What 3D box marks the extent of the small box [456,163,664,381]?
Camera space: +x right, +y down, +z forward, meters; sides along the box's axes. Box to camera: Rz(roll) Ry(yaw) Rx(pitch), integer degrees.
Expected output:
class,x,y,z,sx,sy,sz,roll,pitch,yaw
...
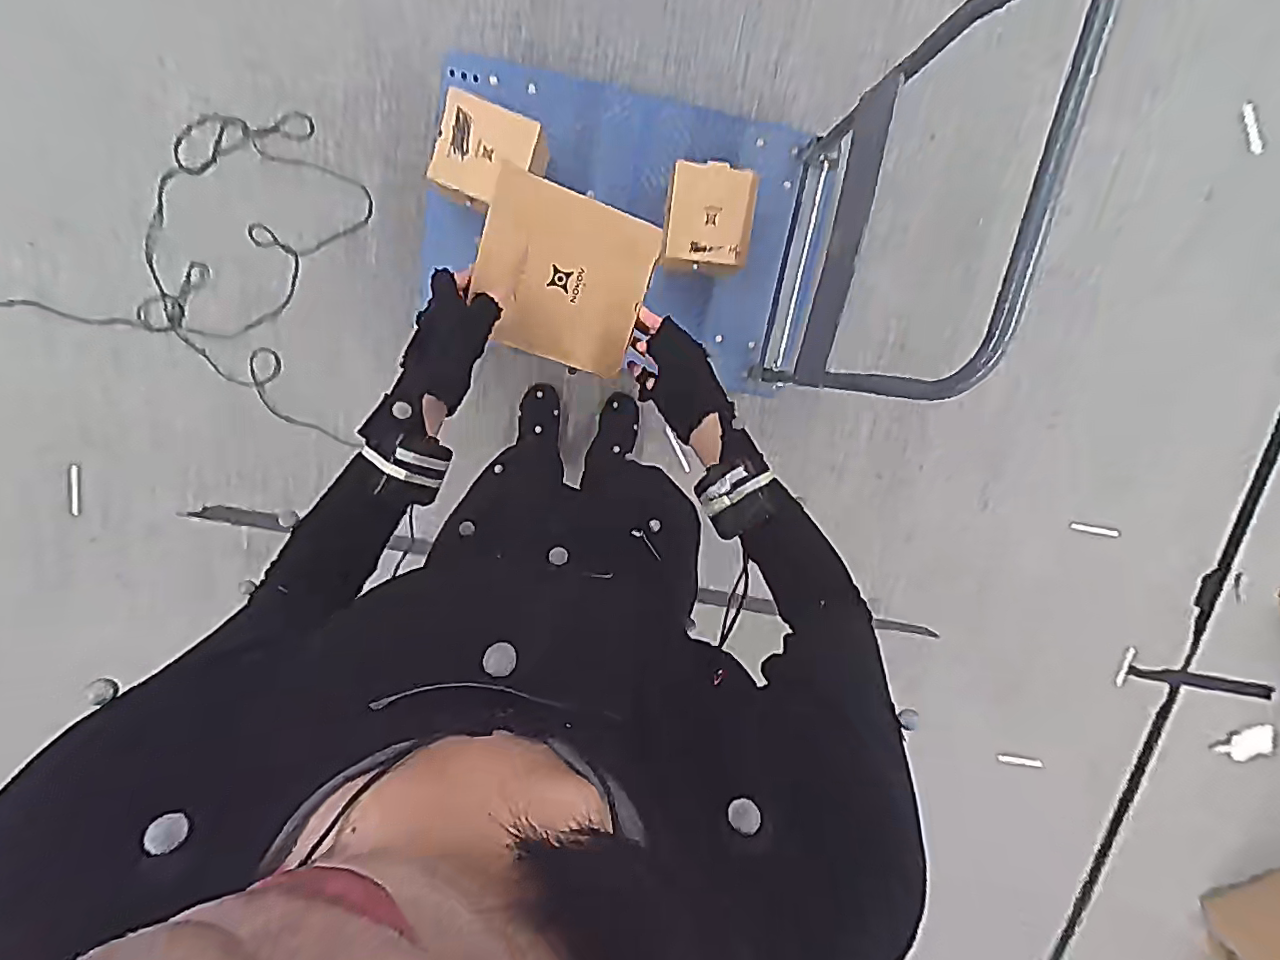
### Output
class,x,y,z,sx,sy,sz,roll,pitch,yaw
small box,-0.095,-0.230,0.625,0.179,0.176,0.168,16,105,-15

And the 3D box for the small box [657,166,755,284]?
class,x,y,z,sx,sy,sz,roll,pitch,yaw
small box,0.131,-0.527,1.139,0.168,0.176,0.179,6,101,-4

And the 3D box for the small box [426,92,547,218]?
class,x,y,z,sx,sy,sz,roll,pitch,yaw
small box,-0.301,-0.626,1.092,0.179,0.176,0.168,19,101,-8
